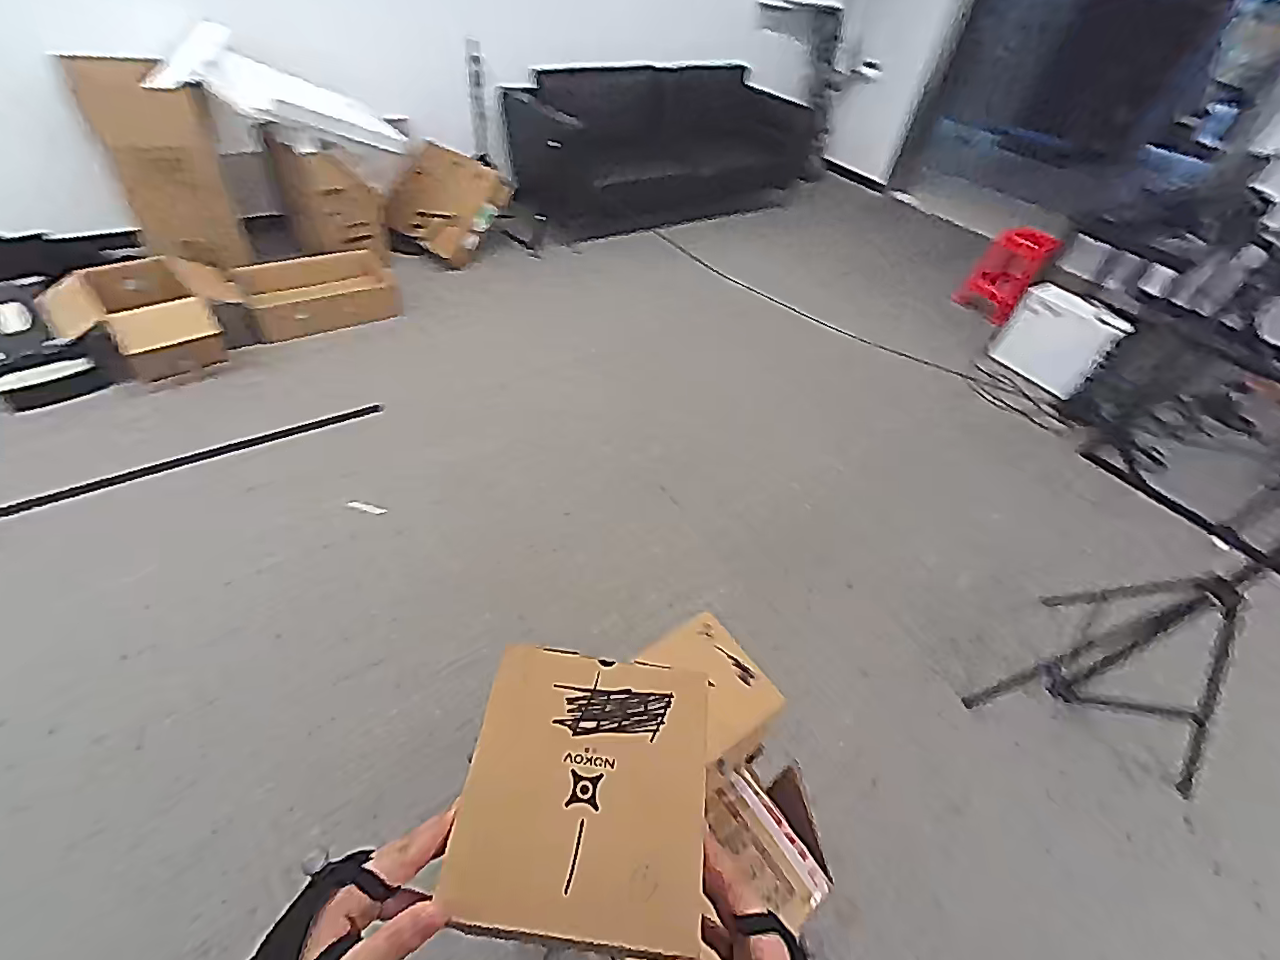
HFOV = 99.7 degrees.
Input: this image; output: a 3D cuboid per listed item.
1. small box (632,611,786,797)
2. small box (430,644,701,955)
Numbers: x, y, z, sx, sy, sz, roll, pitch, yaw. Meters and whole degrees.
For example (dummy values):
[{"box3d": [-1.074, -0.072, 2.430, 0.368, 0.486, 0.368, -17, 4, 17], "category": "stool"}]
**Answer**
[{"box3d": [0.077, 0.332, 0.778, 0.179, 0.176, 0.168, -25, 52, -26], "category": "small box"}, {"box3d": [-0.047, 0.260, 0.439, 0.168, 0.176, 0.179, 7, 48, 0], "category": "small box"}]
